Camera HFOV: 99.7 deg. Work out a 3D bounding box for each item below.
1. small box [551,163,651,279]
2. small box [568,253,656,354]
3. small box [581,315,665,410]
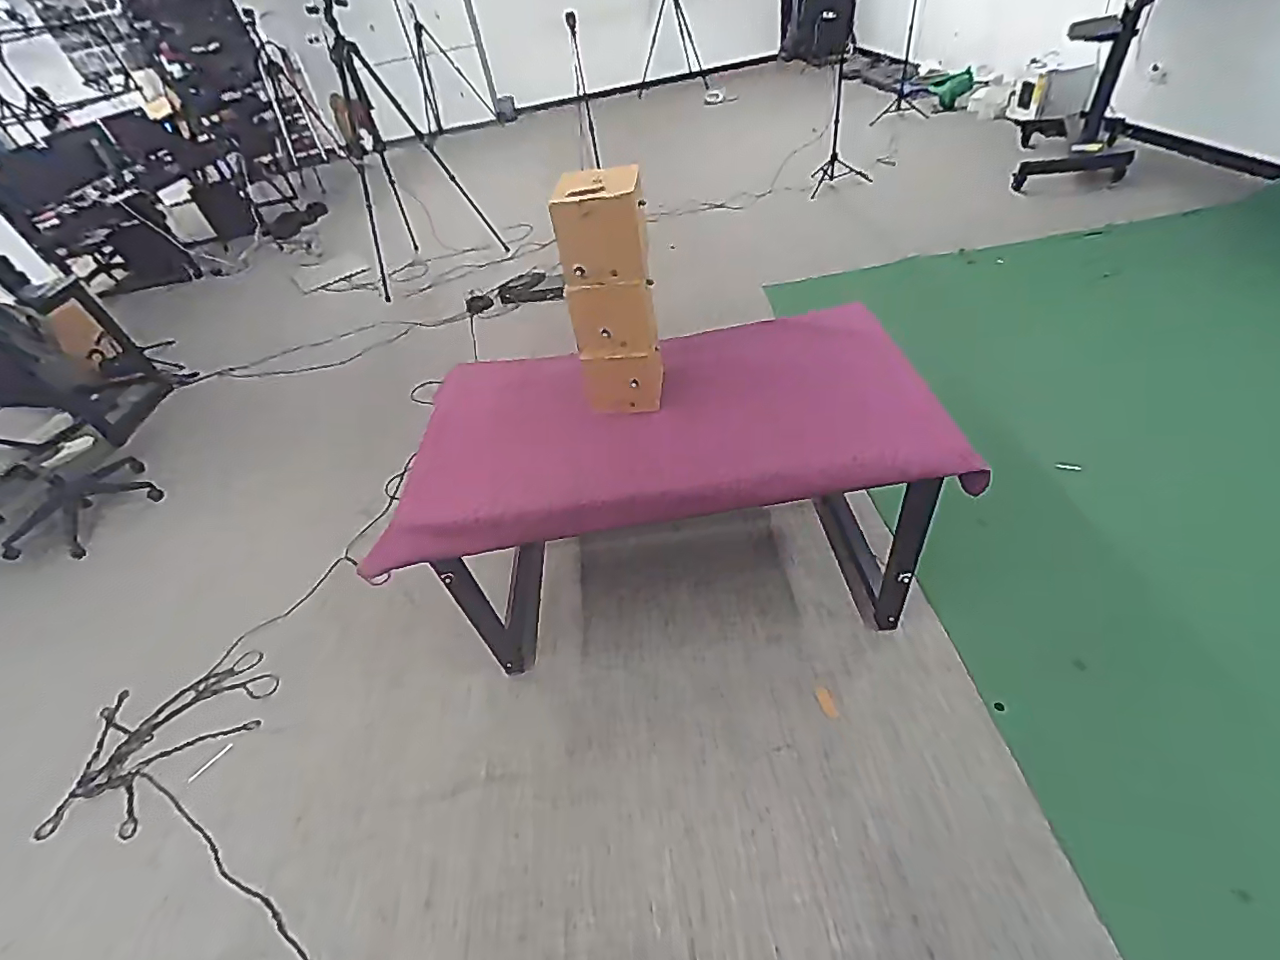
[{"bbox_3d":[-0.071,-0.527,1.115,0.168,0.176,0.179,-2,45,8],"label":"small box"},{"bbox_3d":[-0.056,-0.405,1.225,0.168,0.176,0.179,-3,46,7],"label":"small box"},{"bbox_3d":[-0.033,-0.284,1.329,0.168,0.176,0.179,-1,45,10],"label":"small box"}]
